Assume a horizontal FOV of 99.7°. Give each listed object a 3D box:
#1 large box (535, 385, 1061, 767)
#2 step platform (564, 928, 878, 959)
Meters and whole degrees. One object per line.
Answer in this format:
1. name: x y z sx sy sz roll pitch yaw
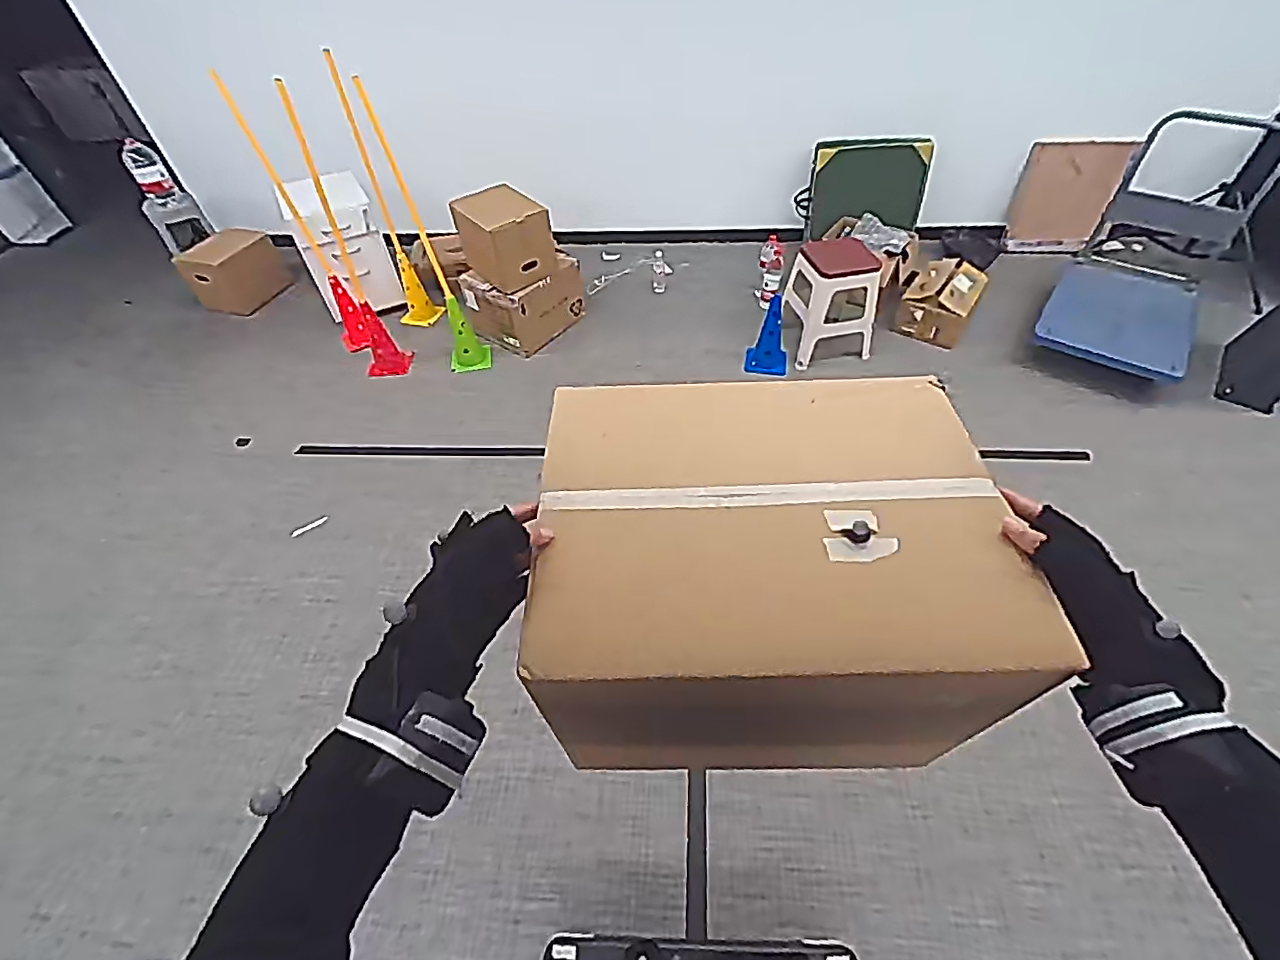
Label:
1. large box: 0.117 0.116 0.610 0.408 0.320 0.320 -2 52 1
2. step platform: 0.166 1.111 1.112 0.684 0.204 0.286 0 49 1
